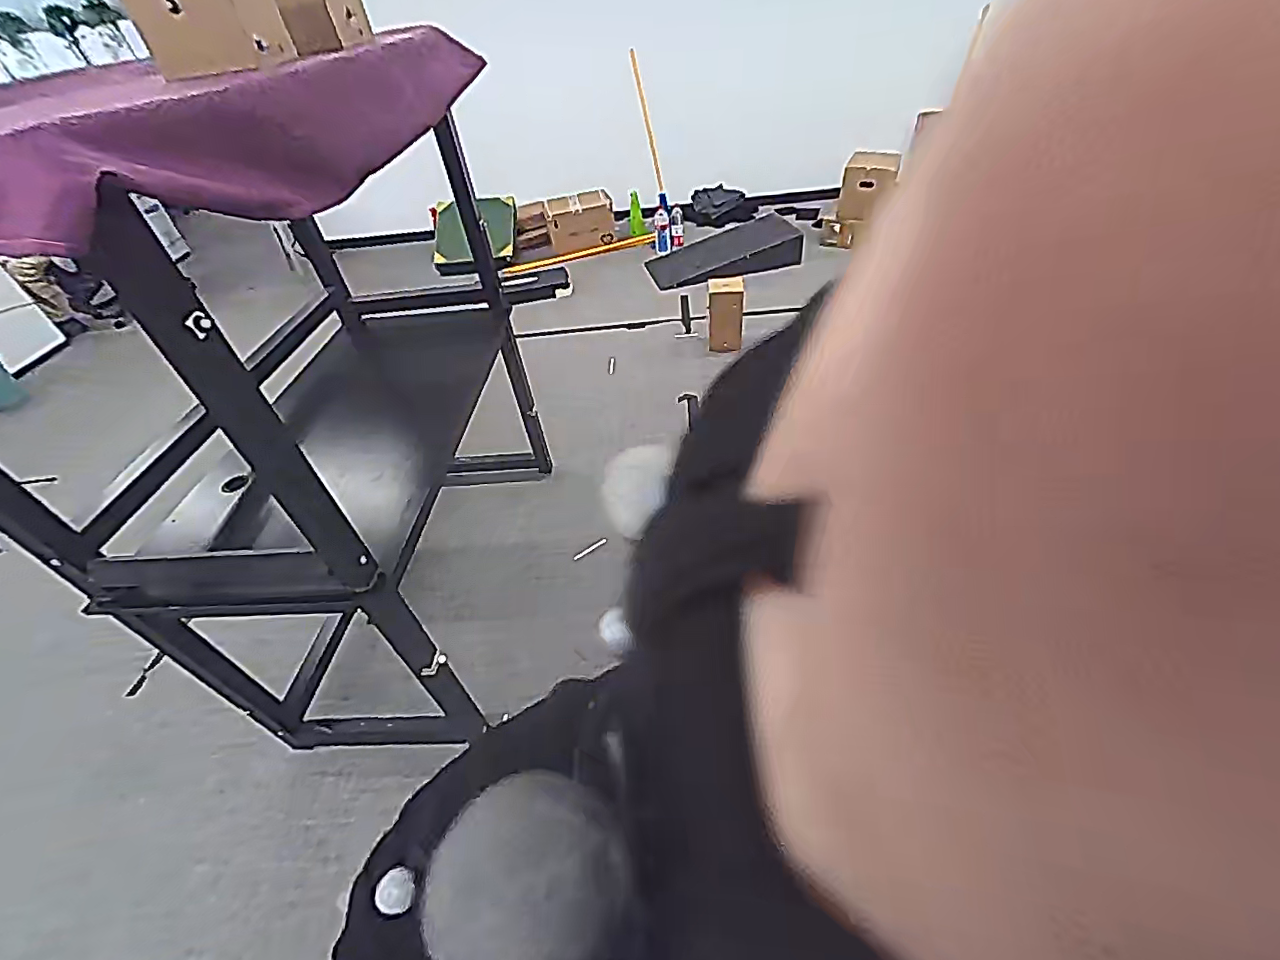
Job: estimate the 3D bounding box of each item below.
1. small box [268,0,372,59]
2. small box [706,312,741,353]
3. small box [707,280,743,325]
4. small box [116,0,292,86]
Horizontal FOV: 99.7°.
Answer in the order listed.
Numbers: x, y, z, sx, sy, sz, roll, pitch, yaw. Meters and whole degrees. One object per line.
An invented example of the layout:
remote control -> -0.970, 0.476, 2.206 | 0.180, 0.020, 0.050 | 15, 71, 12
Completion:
small box -> -0.731, -1.037, 1.180 | 0.179, 0.176, 0.168 | -1, 44, 8
small box -> 0.446, -0.800, 2.913 | 0.179, 0.176, 0.168 | -2, 43, 4
small box -> 0.437, -0.918, 2.800 | 0.179, 0.176, 0.168 | -1, 43, 8
small box -> -0.755, -0.809, 0.940 | 0.179, 0.176, 0.168 | -8, 42, 2
